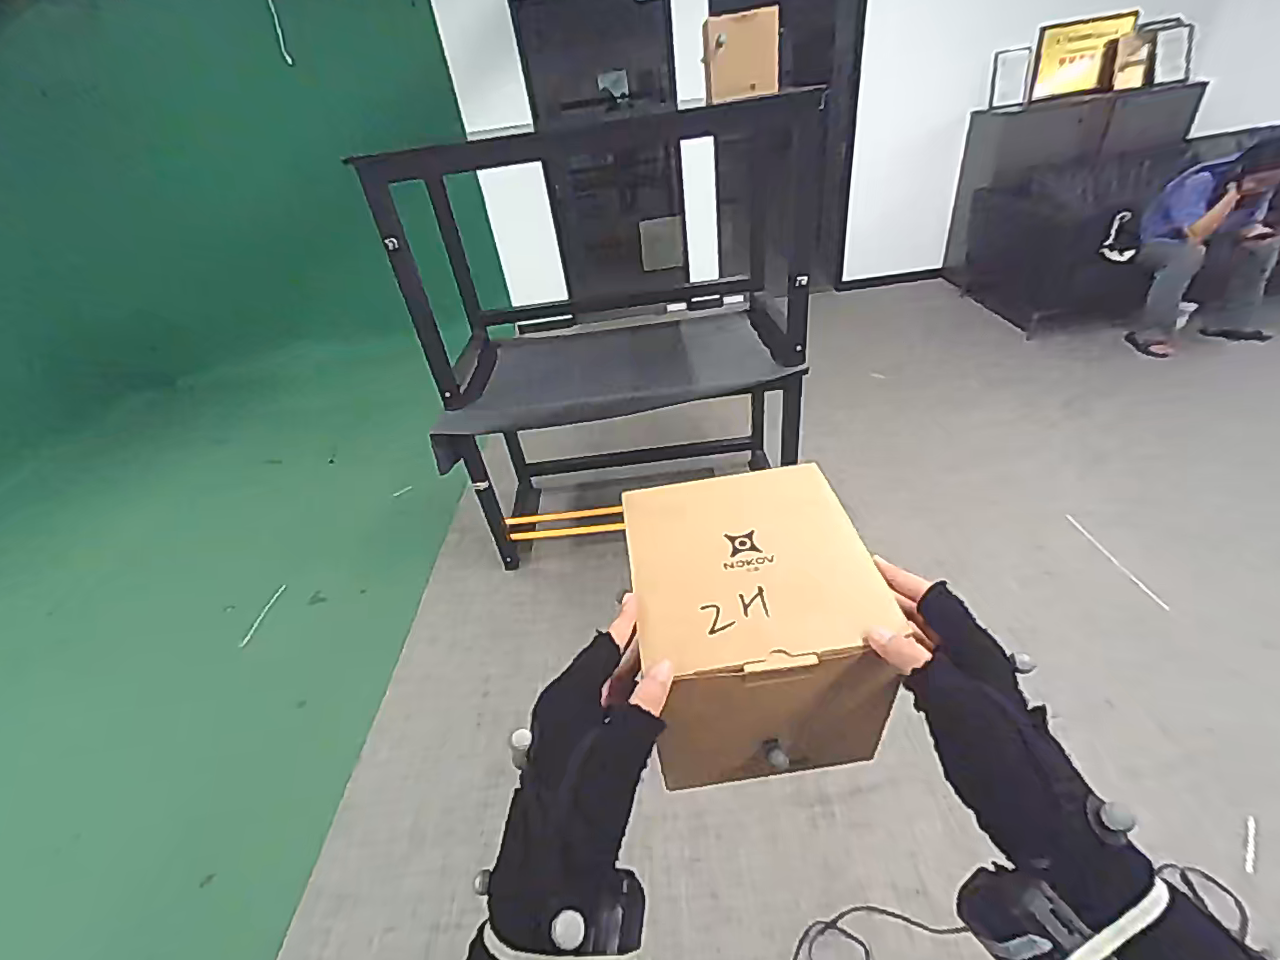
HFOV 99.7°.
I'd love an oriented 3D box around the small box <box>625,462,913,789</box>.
[{"bbox_3d":[0.083,0.111,0.431,0.168,0.176,0.179,-9,38,1],"label":"small box"}]
